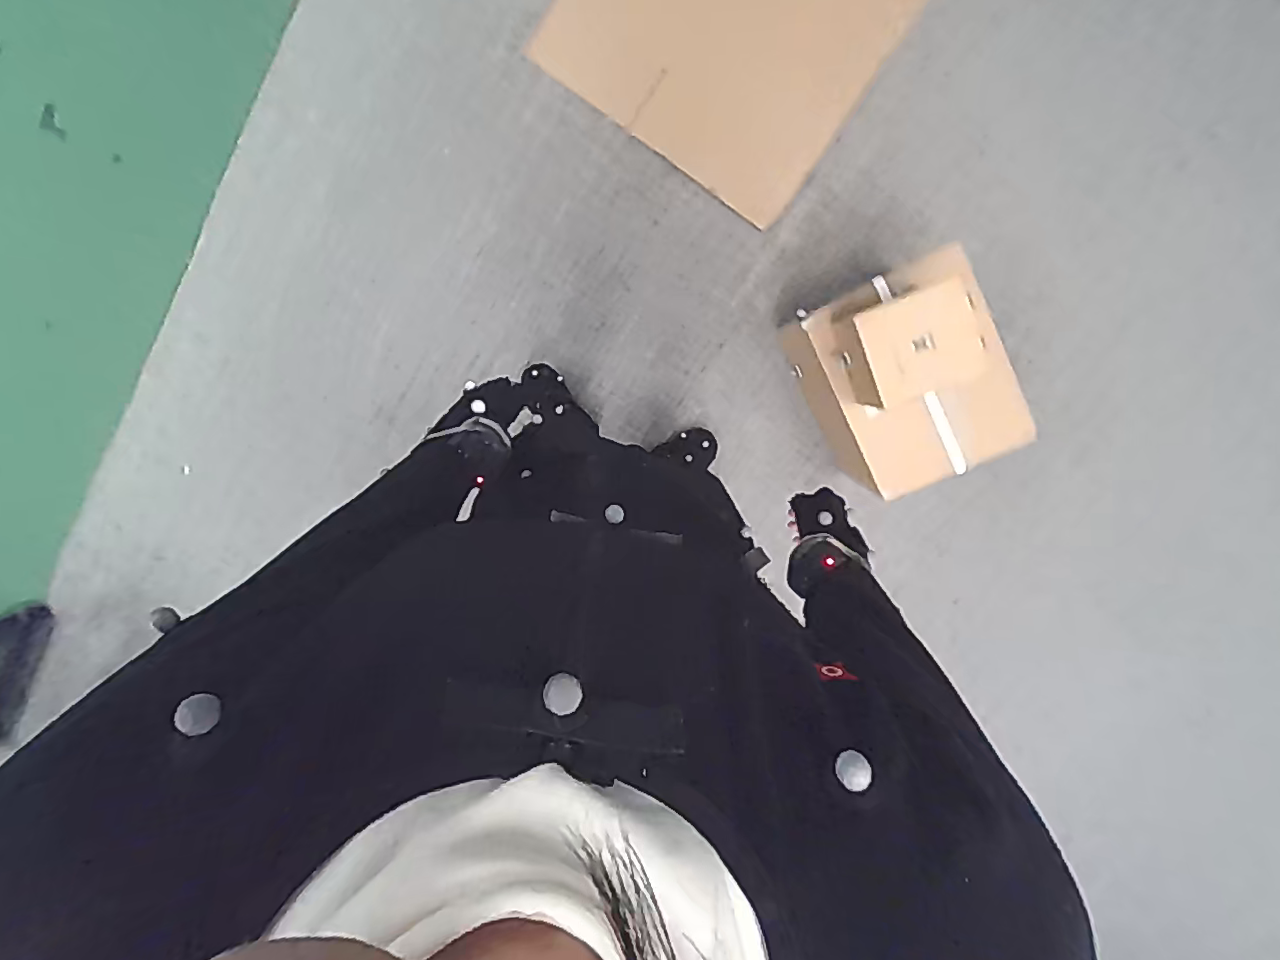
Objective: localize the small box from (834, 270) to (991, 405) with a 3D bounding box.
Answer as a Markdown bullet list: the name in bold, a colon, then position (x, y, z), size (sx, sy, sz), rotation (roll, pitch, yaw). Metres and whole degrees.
- **small box**: position (0.464, -0.244, 0.946), size (0.179, 0.176, 0.168), rotation (-21, 98, 12)
